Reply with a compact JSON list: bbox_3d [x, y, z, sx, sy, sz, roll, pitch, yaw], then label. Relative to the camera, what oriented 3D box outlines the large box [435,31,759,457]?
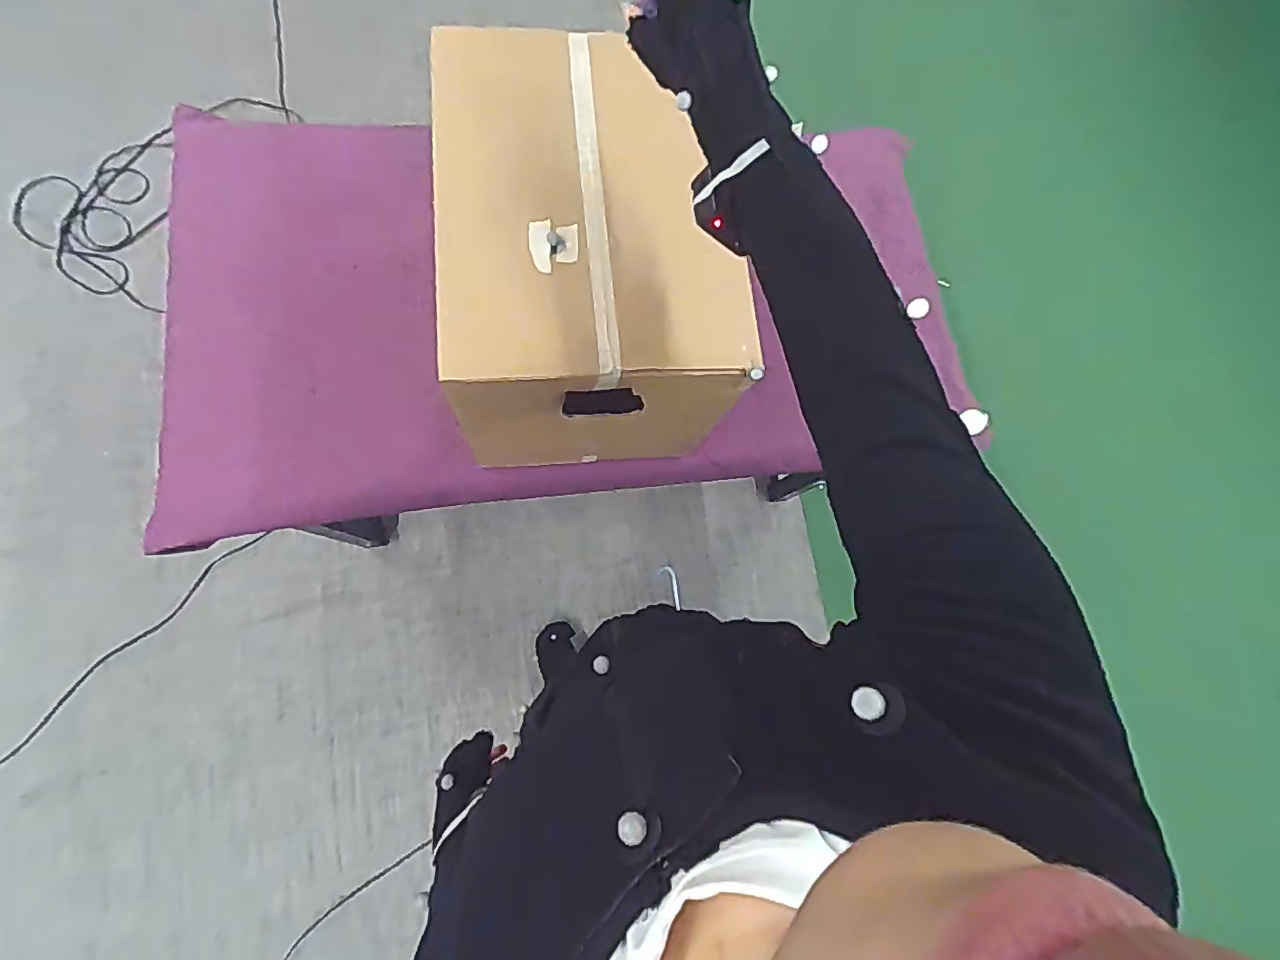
[{"bbox_3d":[-0.072,-0.266,0.710,0.320,0.320,0.408,-4,78,-10],"label":"large box"}]
